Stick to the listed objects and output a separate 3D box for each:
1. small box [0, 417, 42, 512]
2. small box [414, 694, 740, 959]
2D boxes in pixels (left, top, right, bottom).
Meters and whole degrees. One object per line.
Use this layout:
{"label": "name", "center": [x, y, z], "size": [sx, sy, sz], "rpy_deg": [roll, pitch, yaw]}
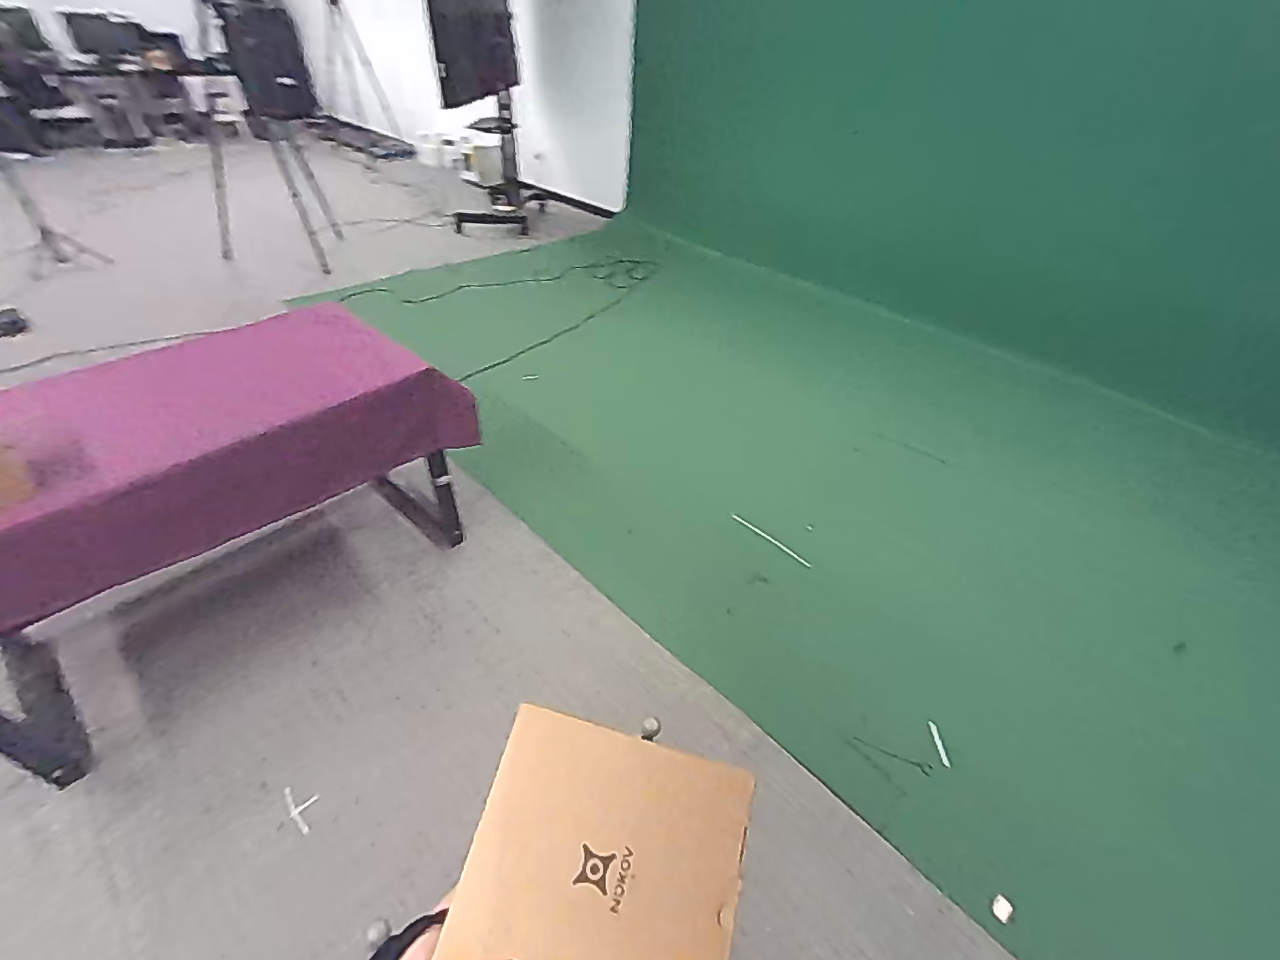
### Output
{"label": "small box", "center": [-1.308, -0.031, 1.034], "size": [0.168, 0.176, 0.179], "rpy_deg": [33, 48, 31]}
{"label": "small box", "center": [-0.034, 0.283, 0.423], "size": [0.179, 0.176, 0.168], "rpy_deg": [14, 65, 7]}
